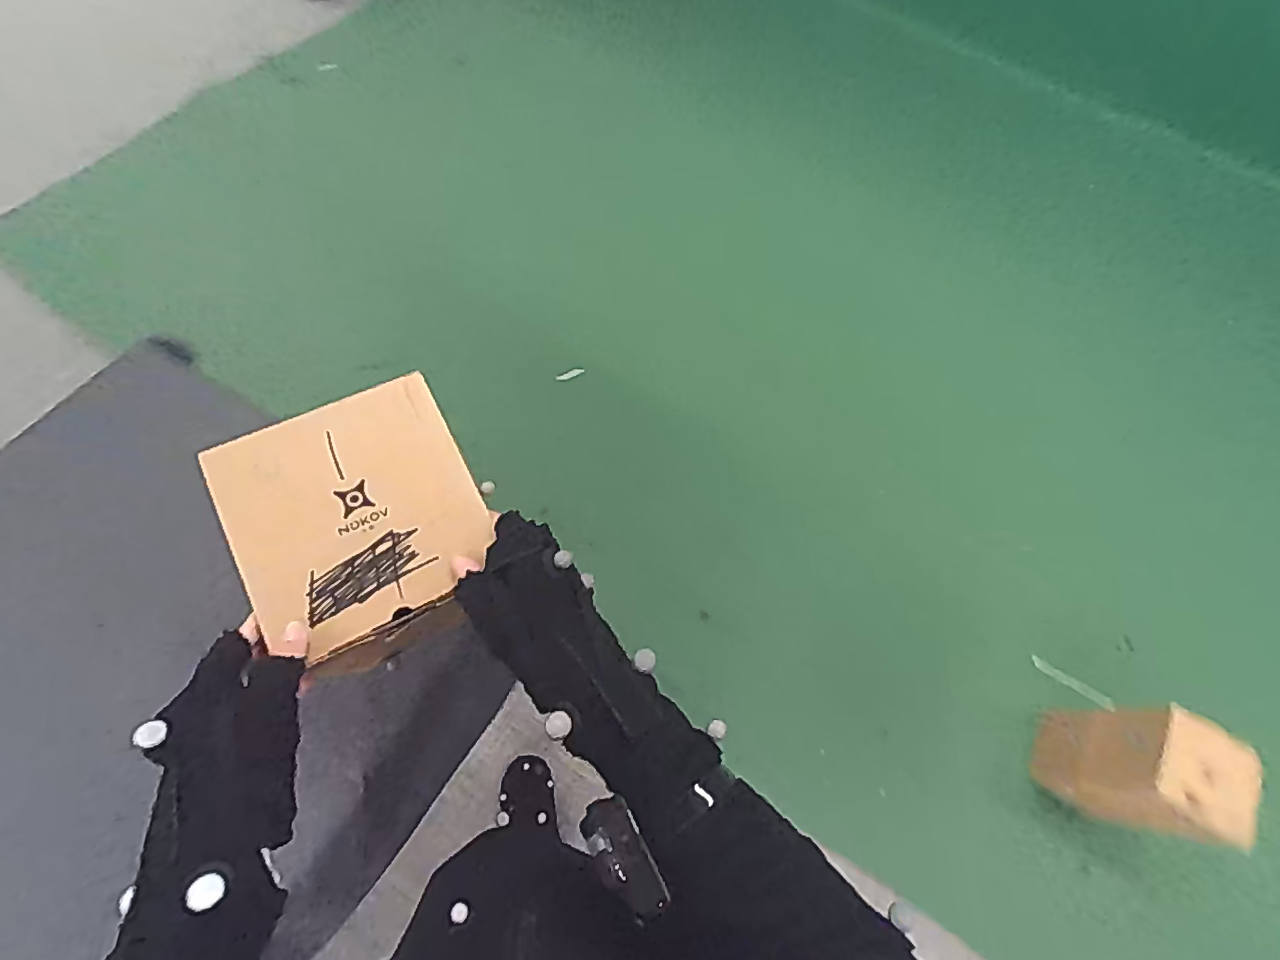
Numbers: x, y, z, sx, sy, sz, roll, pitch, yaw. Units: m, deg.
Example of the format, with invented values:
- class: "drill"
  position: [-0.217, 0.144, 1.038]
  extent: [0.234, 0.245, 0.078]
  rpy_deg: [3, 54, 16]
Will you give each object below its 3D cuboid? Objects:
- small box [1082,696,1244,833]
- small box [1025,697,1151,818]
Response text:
- class: "small box"
  position: [1.036, 0.559, 1.086]
  extent: [0.168, 0.176, 0.179]
  rpy_deg: [32, 67, 9]
- class: "small box"
  position: [1.020, 0.615, 1.220]
  extent: [0.168, 0.176, 0.179]
  rpy_deg: [33, 68, 11]
